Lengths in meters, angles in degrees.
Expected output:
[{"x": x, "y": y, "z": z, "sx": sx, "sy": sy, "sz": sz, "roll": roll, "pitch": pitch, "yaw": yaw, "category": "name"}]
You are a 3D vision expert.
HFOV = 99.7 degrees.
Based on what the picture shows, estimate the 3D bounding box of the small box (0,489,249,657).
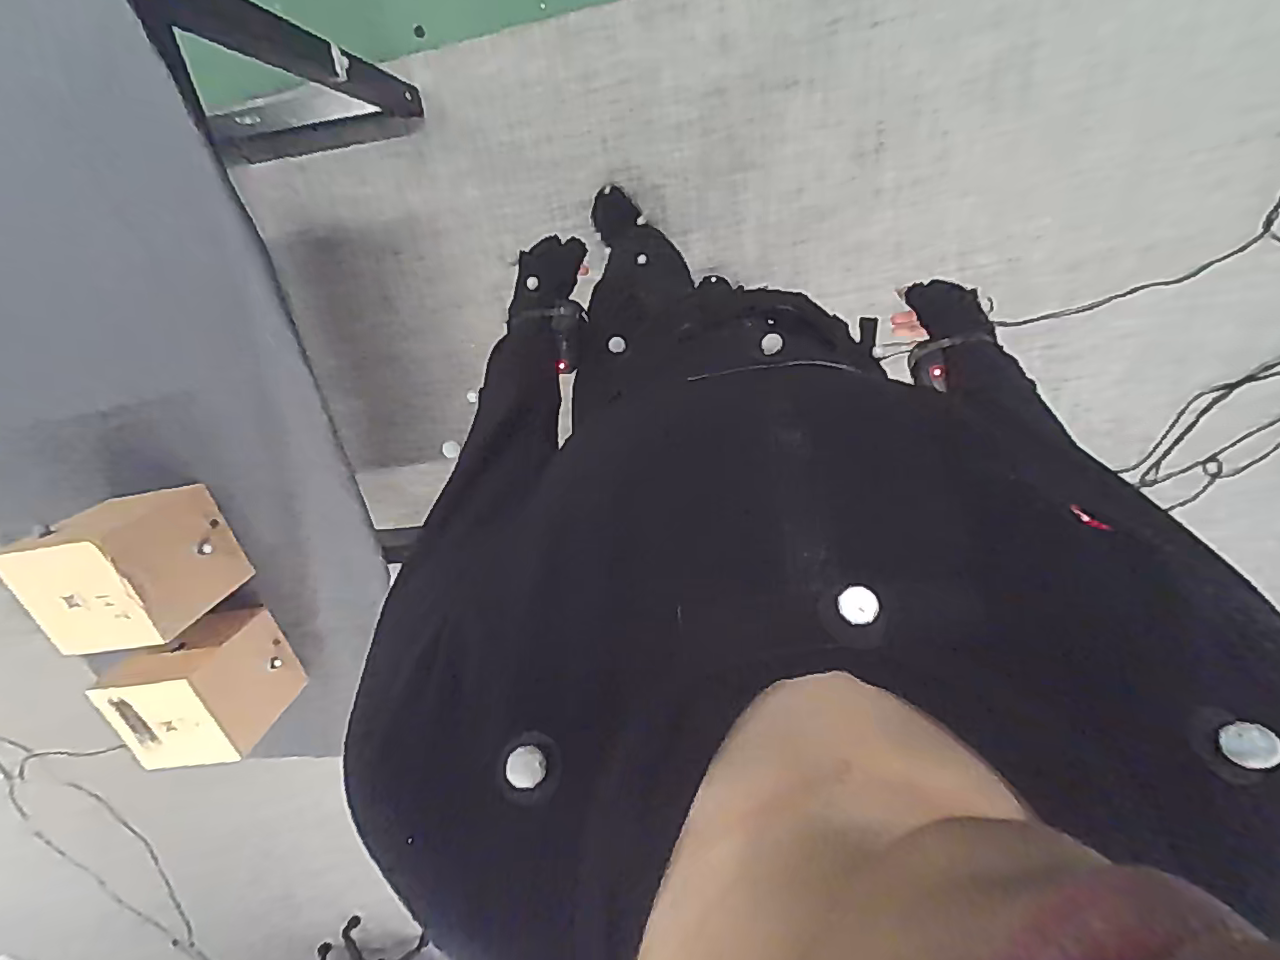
[{"x": -0.725, "y": 0.128, "z": 0.775, "sx": 0.179, "sy": 0.176, "sz": 0.168, "roll": -9, "pitch": 113, "yaw": 9, "category": "small box"}]
